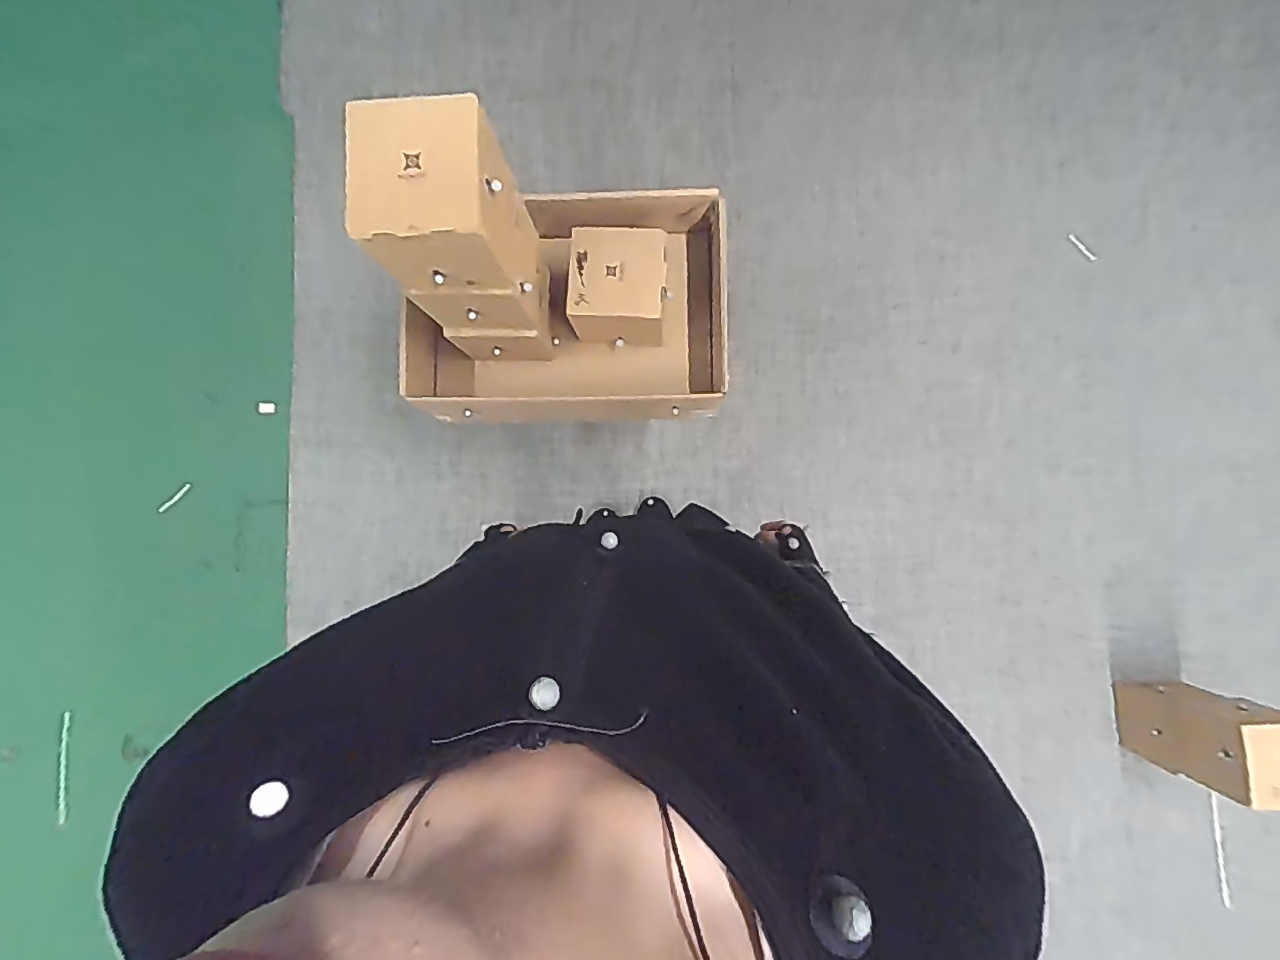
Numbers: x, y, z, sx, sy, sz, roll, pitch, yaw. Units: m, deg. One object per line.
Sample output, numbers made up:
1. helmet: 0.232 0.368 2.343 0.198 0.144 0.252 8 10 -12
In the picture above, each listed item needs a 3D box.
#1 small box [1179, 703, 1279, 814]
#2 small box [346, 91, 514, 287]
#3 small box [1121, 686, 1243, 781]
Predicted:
1. small box: 1.345 0.600 1.186 0.168 0.176 0.179 -3 86 4
2. small box: -0.274 -0.383 0.738 0.168 0.176 0.179 -2 87 2
3. small box: 1.353 0.622 1.349 0.168 0.176 0.179 -3 86 3
